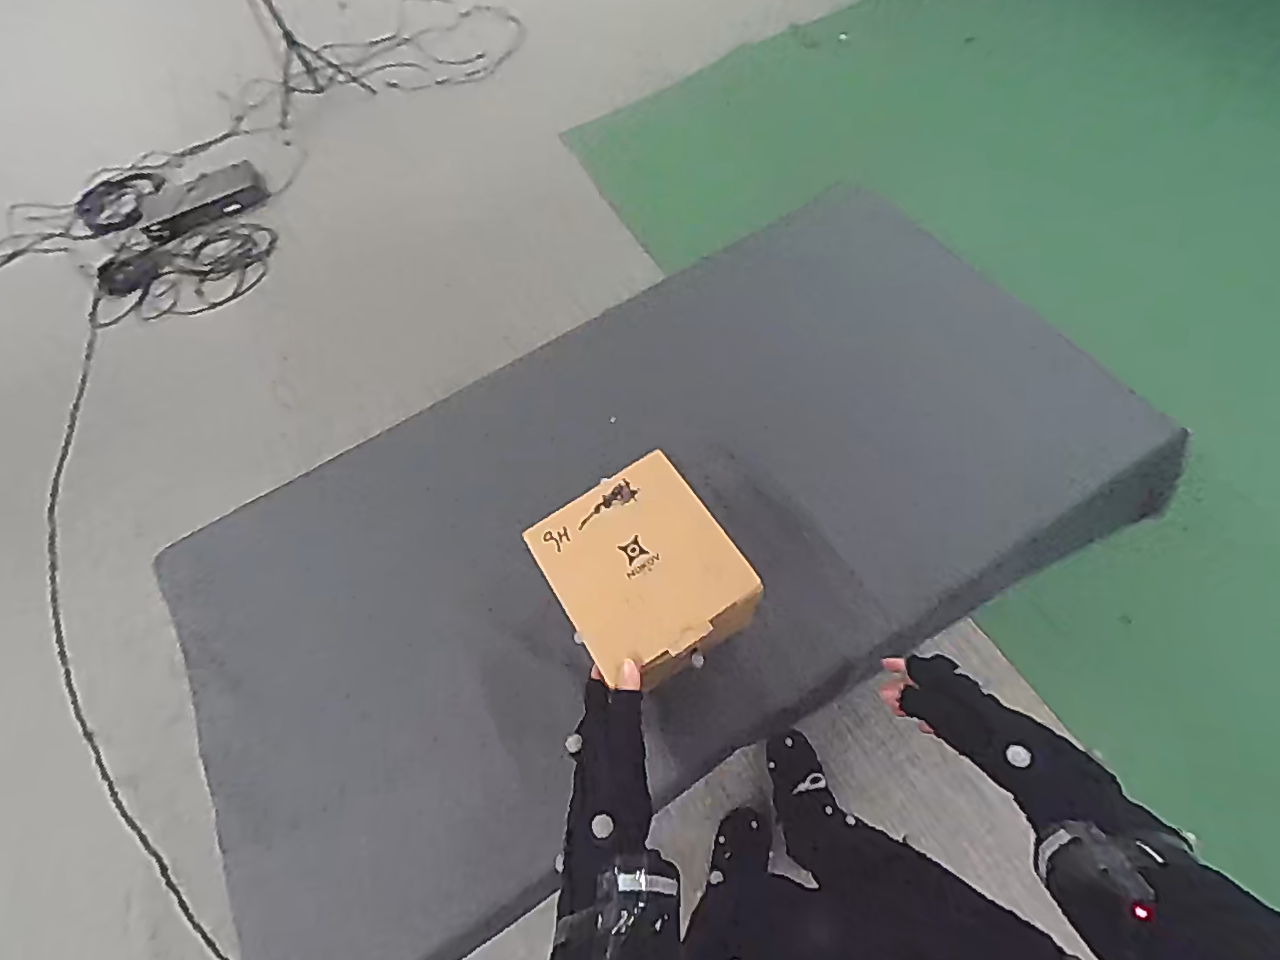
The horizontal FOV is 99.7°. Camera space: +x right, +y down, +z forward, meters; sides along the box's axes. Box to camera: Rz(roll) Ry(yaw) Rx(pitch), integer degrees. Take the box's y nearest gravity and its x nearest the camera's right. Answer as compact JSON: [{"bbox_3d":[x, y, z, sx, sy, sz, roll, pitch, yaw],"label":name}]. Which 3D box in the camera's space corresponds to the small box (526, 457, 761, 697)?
[{"bbox_3d":[0.008,0.112,0.585,0.168,0.176,0.179,-32,67,-9],"label":"small box"}]
